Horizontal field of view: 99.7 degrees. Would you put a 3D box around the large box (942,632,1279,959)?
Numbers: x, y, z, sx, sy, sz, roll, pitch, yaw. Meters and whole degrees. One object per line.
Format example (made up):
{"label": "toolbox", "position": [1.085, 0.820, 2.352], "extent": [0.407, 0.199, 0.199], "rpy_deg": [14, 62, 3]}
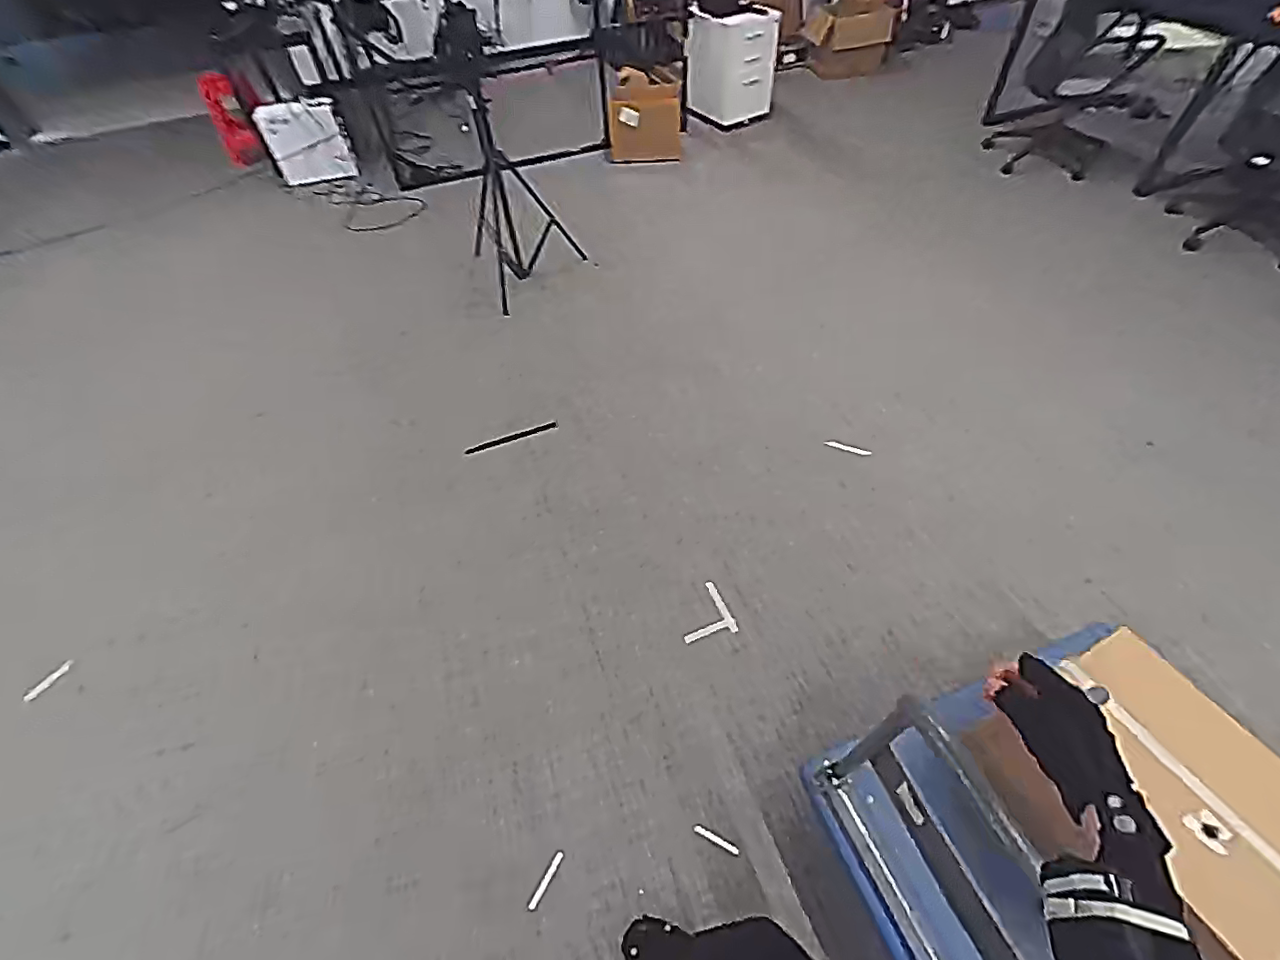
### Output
{"label": "large box", "position": [0.872, 0.570, 0.994], "extent": [0.320, 0.320, 0.408], "rpy_deg": [-25, 55, -14]}
